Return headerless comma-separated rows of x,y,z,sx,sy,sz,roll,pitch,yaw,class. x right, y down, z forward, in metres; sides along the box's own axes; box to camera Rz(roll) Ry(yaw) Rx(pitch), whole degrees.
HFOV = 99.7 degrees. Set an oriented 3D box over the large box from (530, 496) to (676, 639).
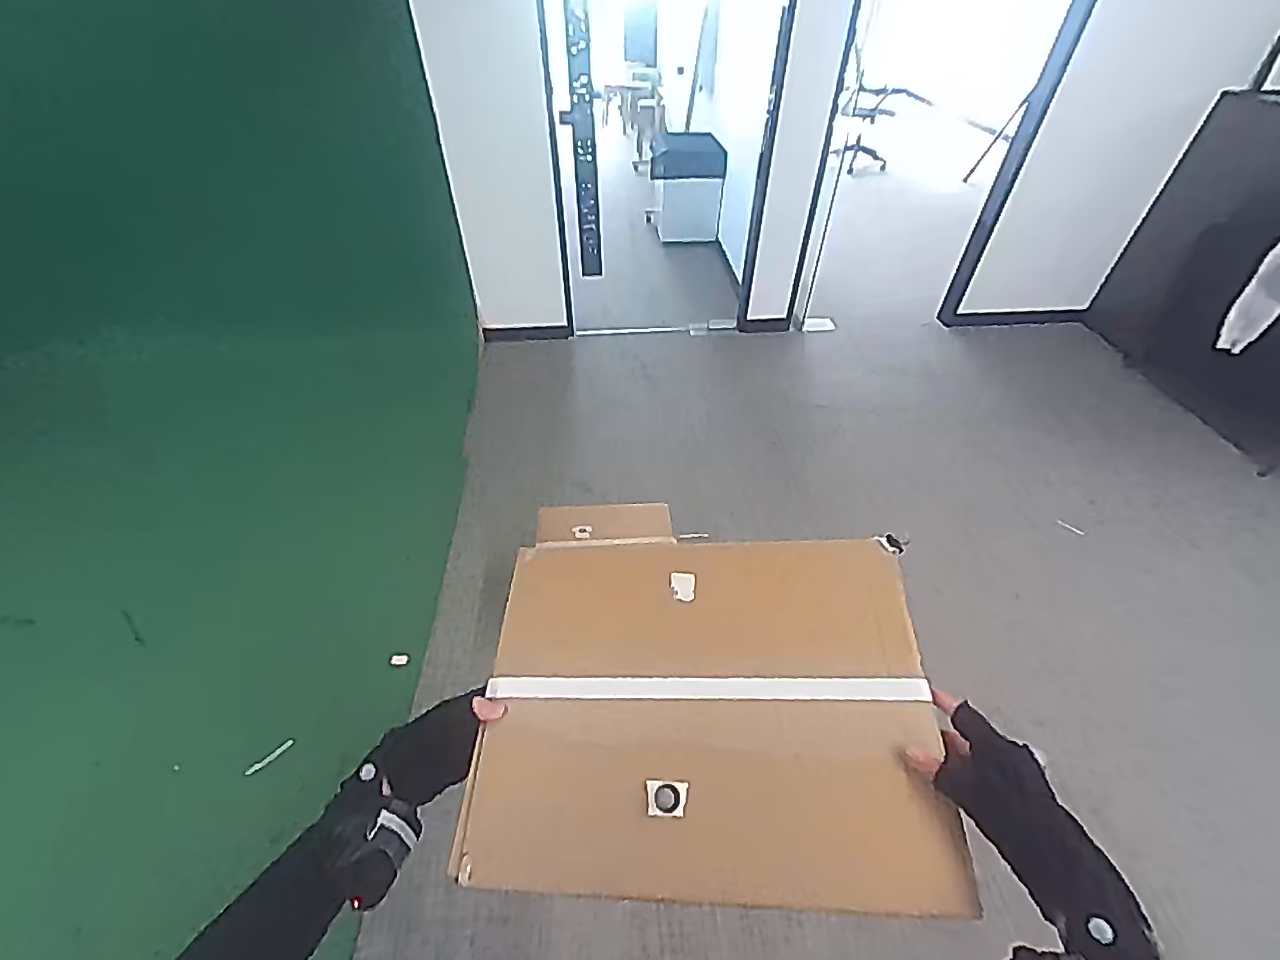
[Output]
-0.110,0.272,1.672,0.408,0.320,0.320,-2,45,-3,large box
